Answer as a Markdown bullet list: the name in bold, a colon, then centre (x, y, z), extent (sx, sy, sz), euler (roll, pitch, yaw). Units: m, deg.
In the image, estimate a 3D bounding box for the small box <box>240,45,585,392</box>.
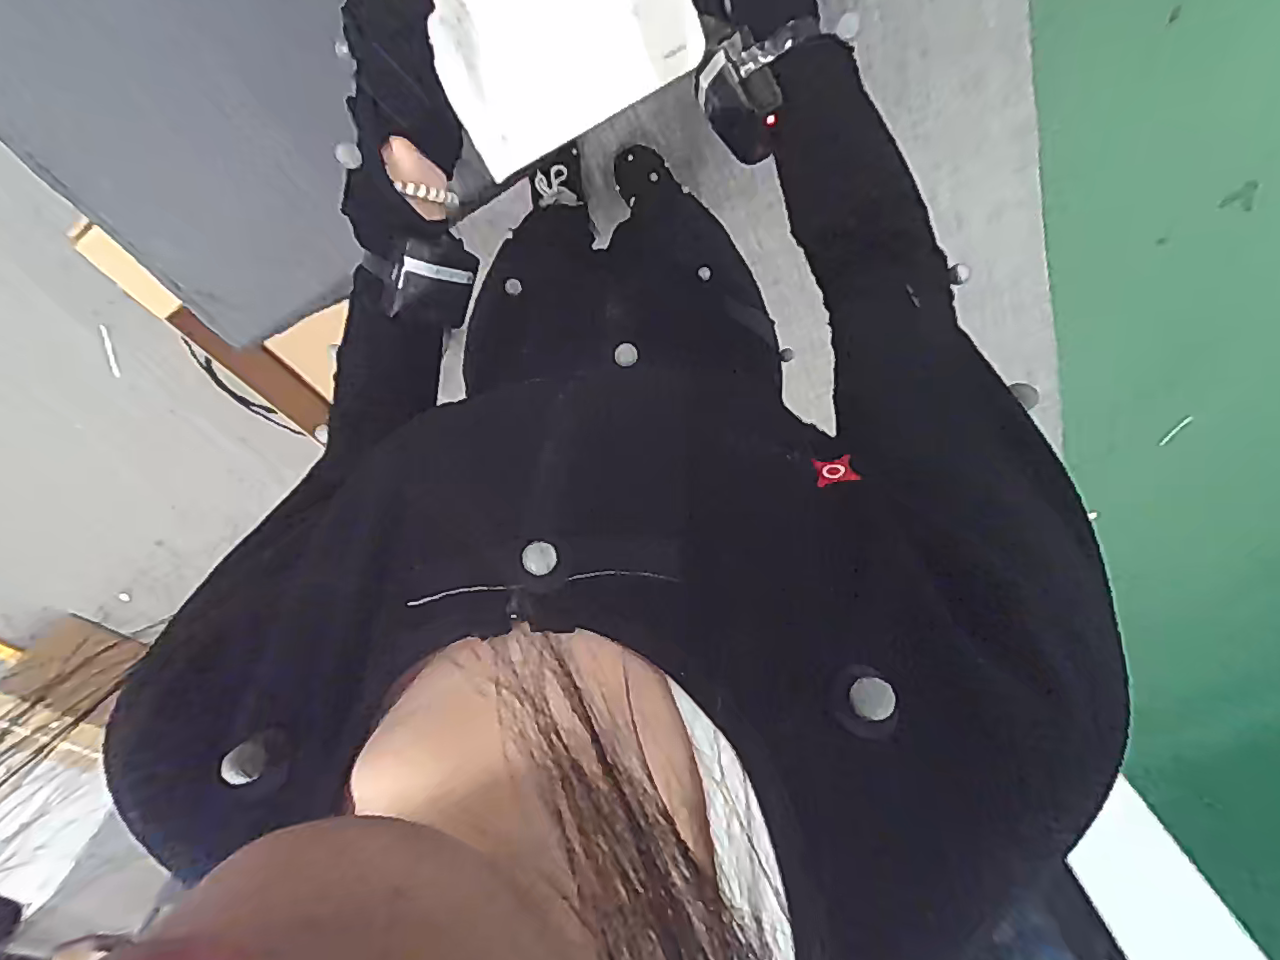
- **small box**: centre (-0.177, -0.187, 0.439), extent (0.176, 0.179, 0.168), euler (7, 164, 34)
